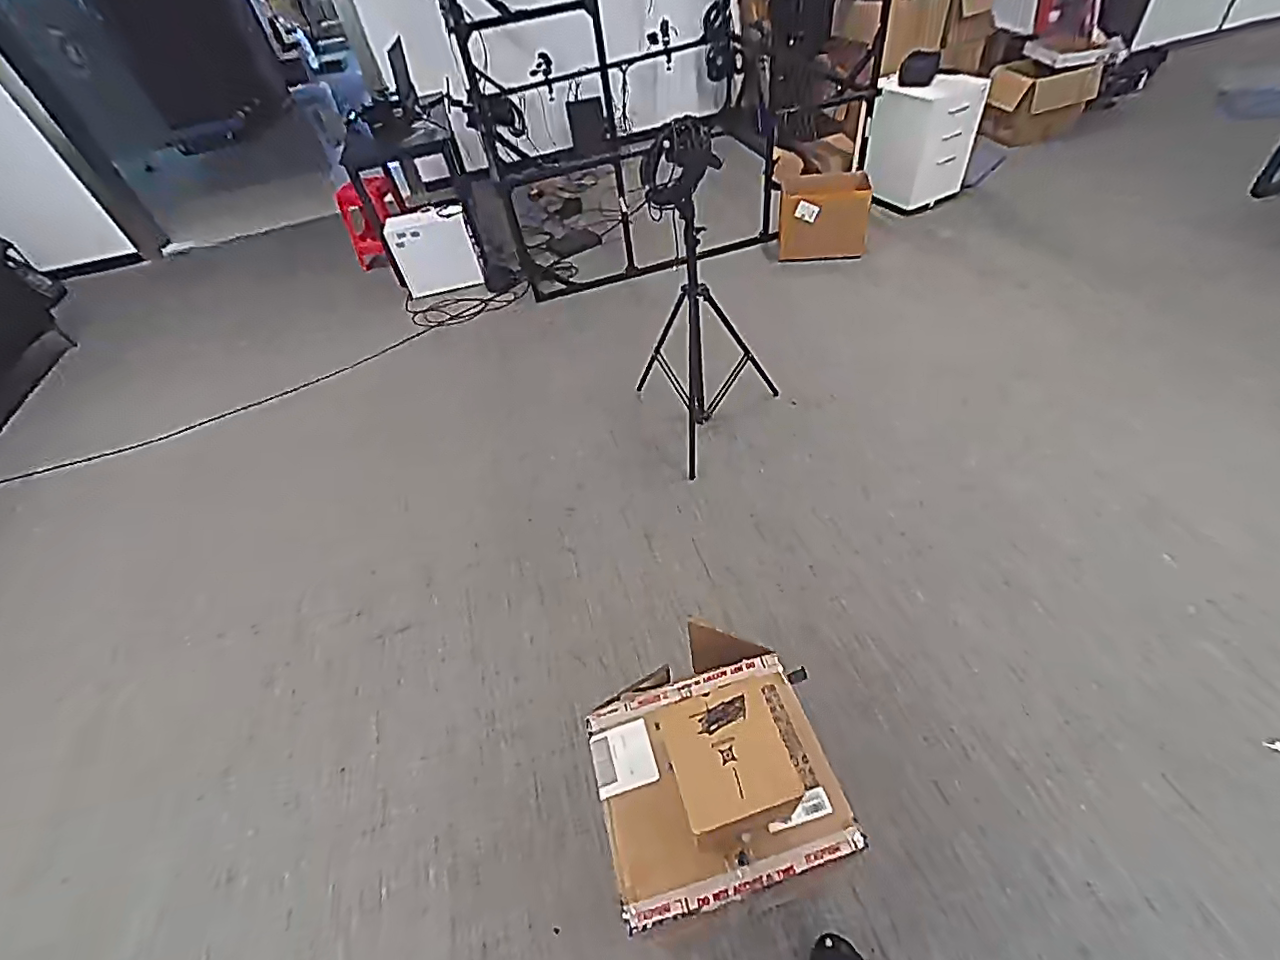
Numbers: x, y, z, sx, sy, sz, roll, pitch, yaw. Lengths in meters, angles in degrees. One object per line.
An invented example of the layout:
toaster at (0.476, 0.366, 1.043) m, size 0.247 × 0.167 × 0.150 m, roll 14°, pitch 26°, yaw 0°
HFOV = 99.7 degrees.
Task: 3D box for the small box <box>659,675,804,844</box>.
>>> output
small box at (0.135, 0.442, 0.854) m, size 0.168 × 0.176 × 0.179 m, roll -17°, pitch 50°, yaw -5°
